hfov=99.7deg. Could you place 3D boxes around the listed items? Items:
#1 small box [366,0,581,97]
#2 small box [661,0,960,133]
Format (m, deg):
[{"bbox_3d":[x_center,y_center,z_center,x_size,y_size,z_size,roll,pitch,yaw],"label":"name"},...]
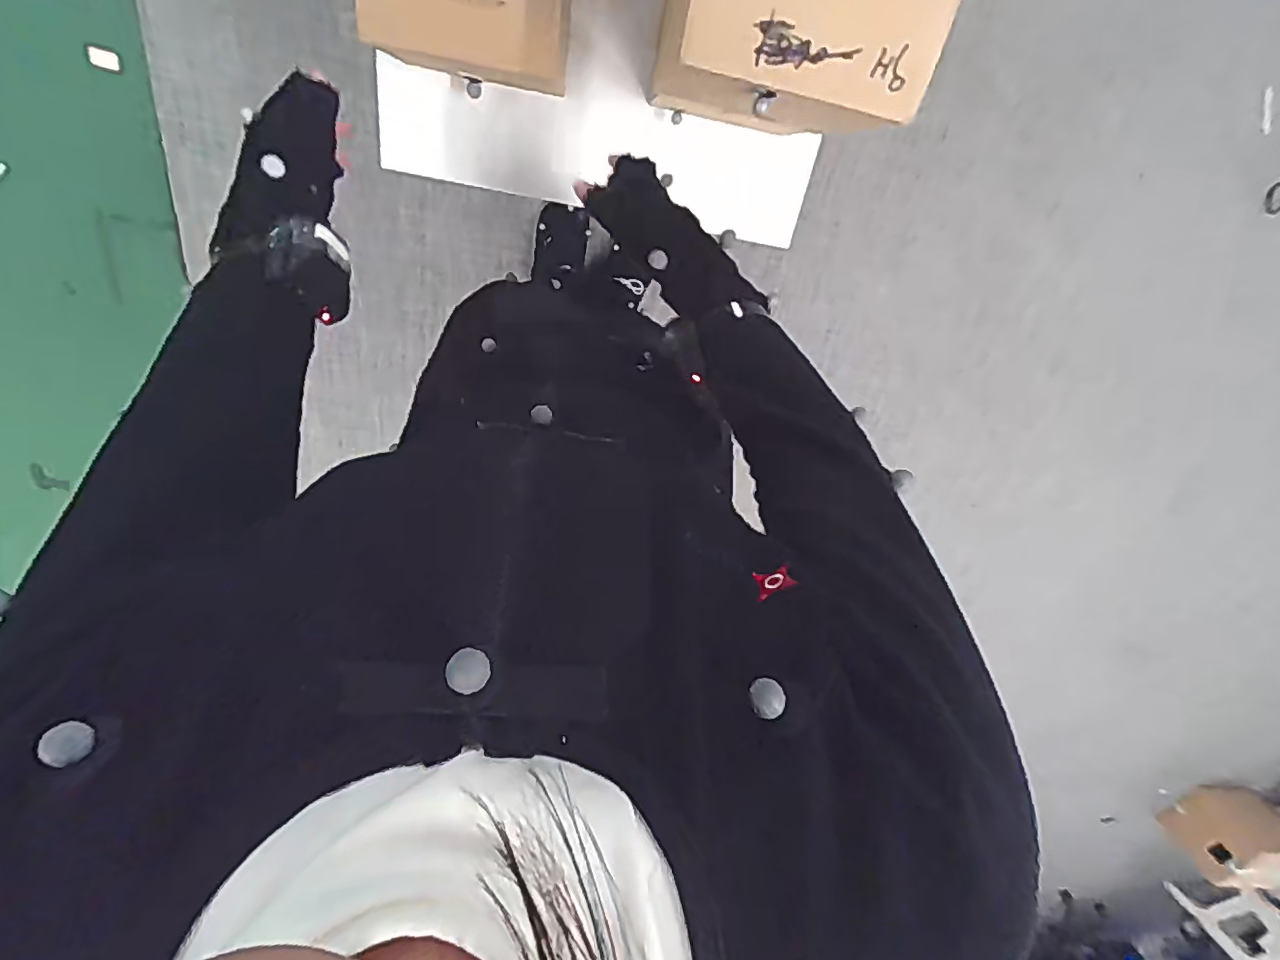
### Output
[{"bbox_3d":[-0.139,-0.470,0.490,0.168,0.176,0.179,5,122,-7],"label":"small box"},{"bbox_3d":[0.115,-0.364,0.378,0.168,0.176,0.179,8,119,-8],"label":"small box"}]
